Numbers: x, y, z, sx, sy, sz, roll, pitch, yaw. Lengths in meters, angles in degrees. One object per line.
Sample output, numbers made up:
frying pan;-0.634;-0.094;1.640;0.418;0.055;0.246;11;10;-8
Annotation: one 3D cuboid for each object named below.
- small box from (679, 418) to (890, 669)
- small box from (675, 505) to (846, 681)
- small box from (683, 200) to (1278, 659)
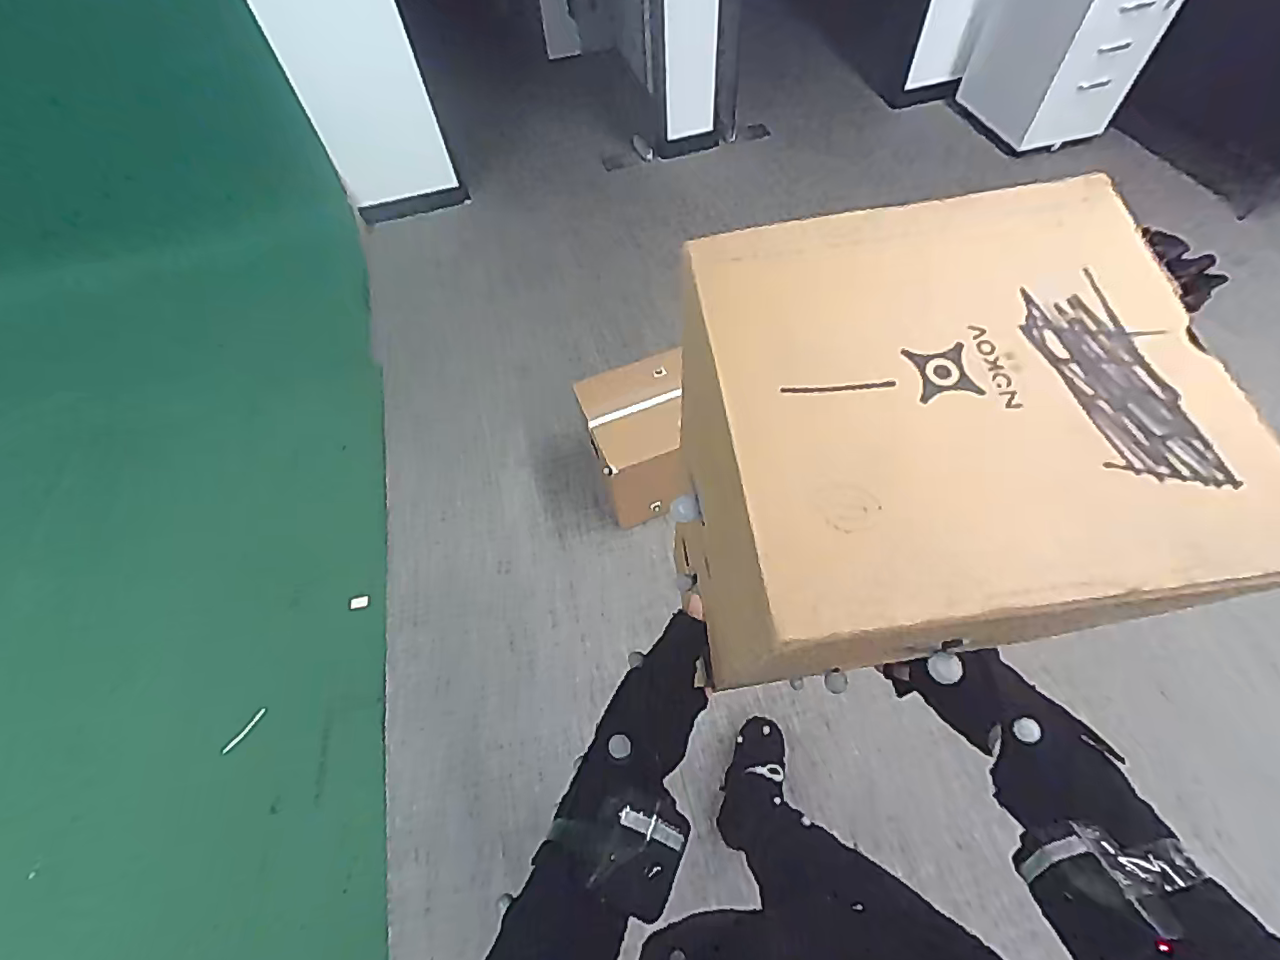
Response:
small box;0.127;0.052;0.436;0.168;0.176;0.179;-9;67;-1
small box;0.137;0.116;0.587;0.179;0.176;0.168;-9;66;-3
small box;0.120;-0.007;0.282;0.179;0.176;0.168;-8;66;1
